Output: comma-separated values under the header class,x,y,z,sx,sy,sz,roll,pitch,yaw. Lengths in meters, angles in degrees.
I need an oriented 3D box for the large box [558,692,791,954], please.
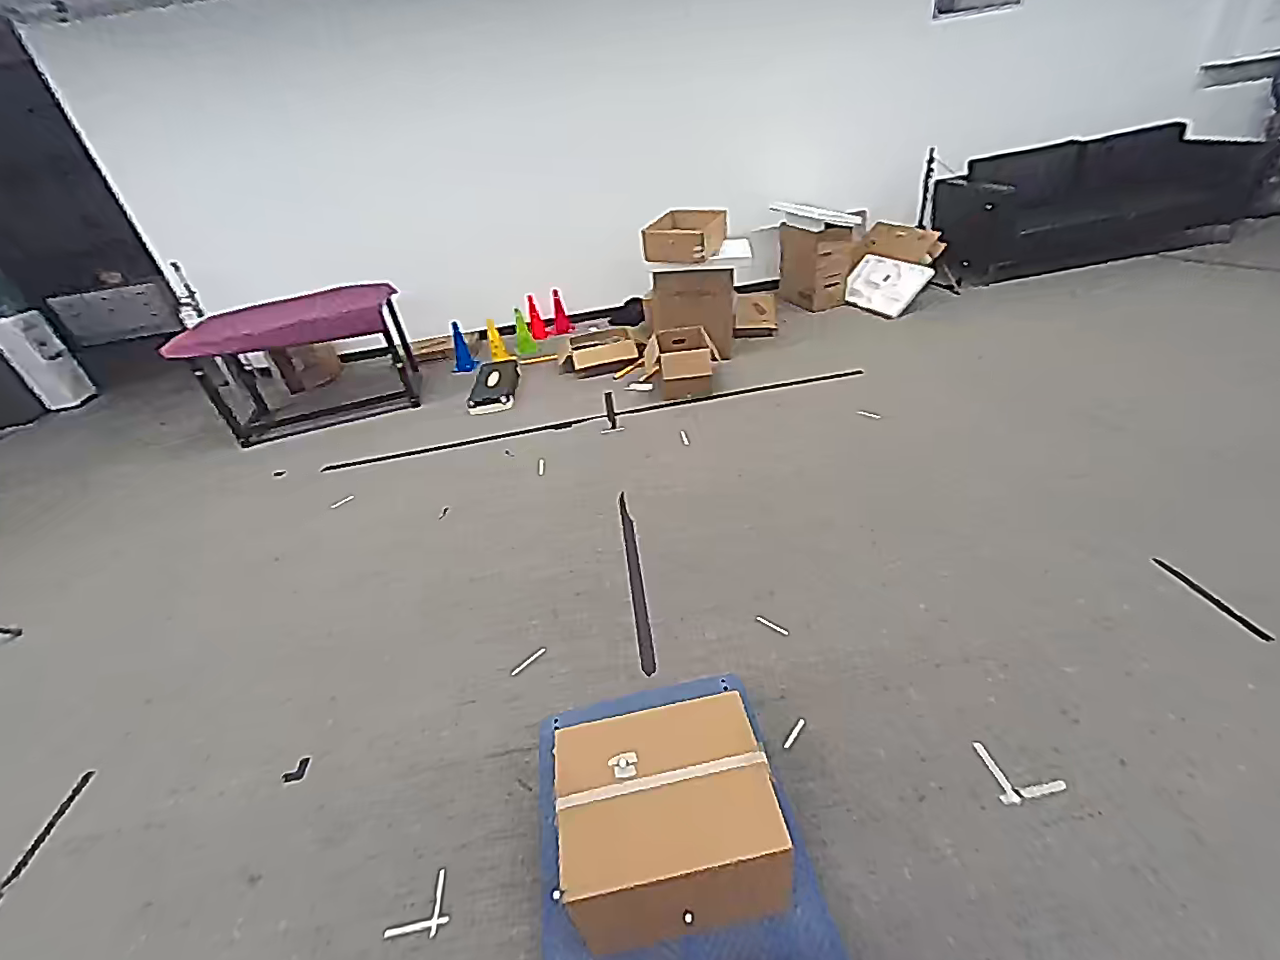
class,x,y,z,sx,sy,sz,roll,pitch,yaw
large box,0.065,0.707,1.130,0.408,0.320,0.320,-12,34,-3
